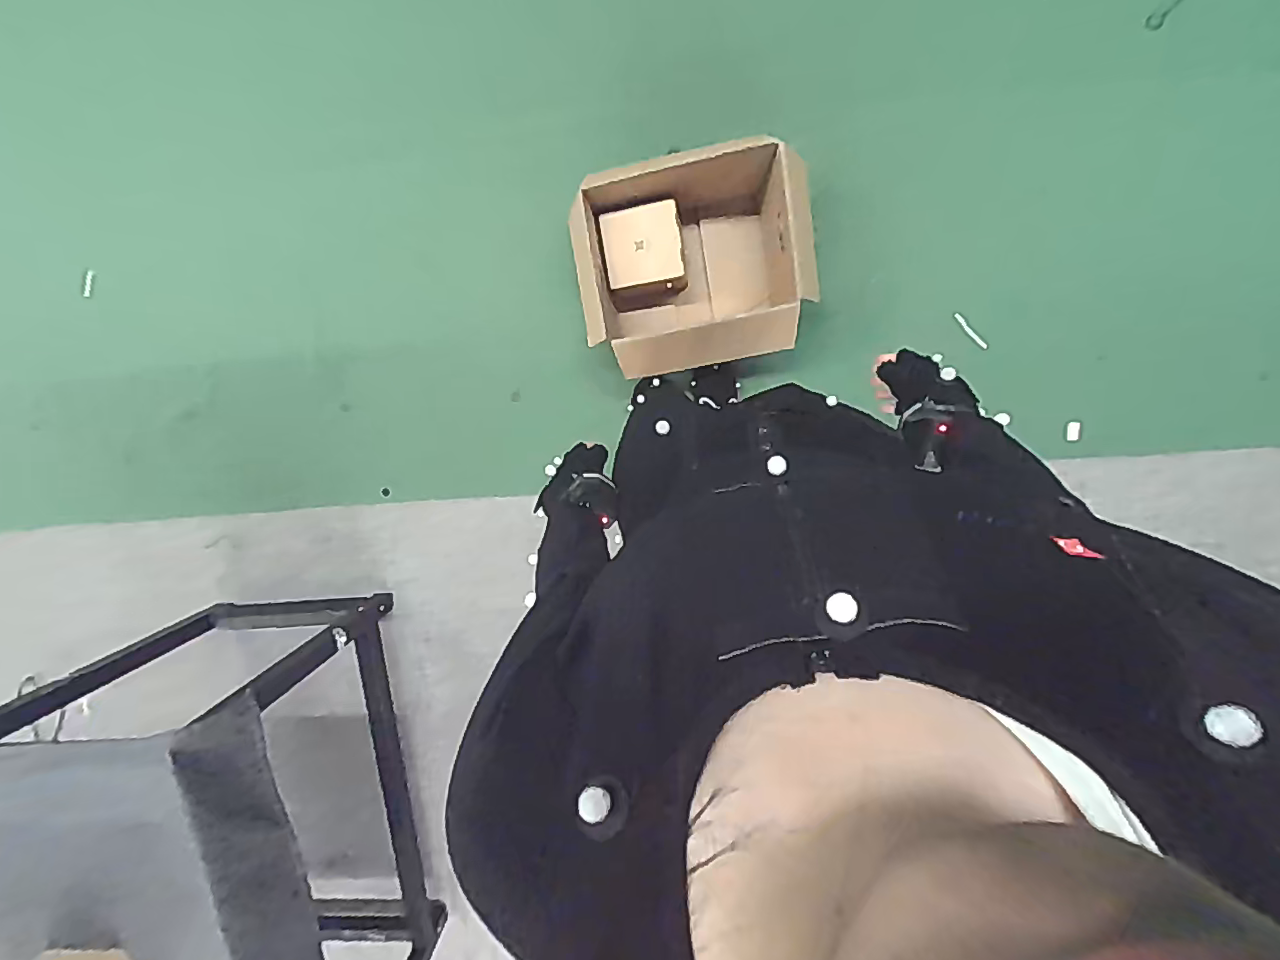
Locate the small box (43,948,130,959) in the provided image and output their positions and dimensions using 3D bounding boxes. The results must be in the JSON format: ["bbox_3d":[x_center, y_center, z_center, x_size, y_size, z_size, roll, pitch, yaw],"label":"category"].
[{"bbox_3d":[-1.019,0.959,0.935,0.179,0.176,0.168,-5,100,6],"label":"small box"}]
